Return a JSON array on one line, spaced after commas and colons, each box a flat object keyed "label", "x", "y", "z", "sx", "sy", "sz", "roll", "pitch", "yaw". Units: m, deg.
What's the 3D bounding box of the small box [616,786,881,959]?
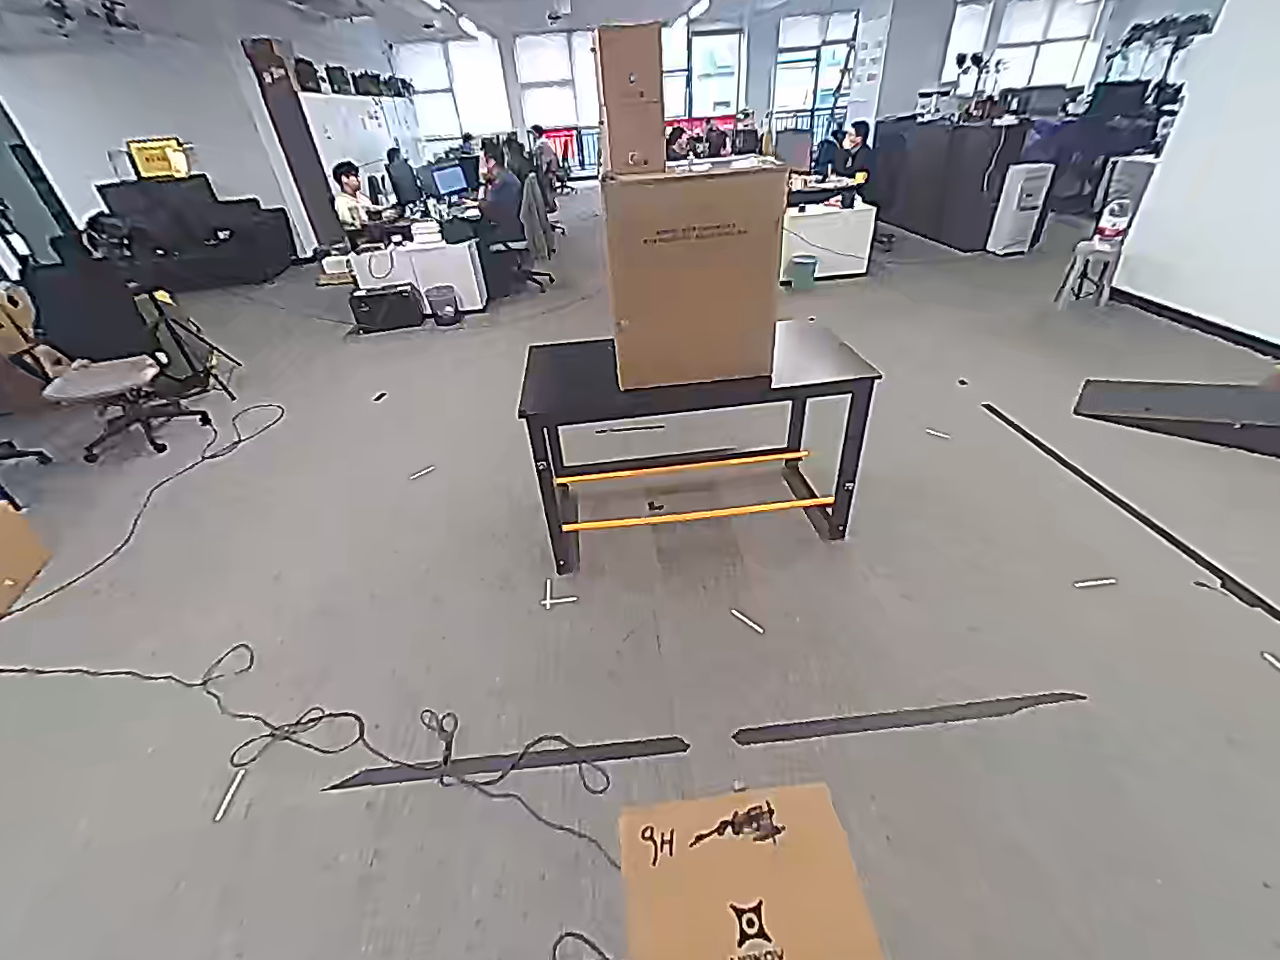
[{"label": "small box", "x": 0.074, "y": 0.359, "z": 0.411, "sx": 0.168, "sy": 0.176, "sz": 0.179, "roll": -5, "pitch": 47, "yaw": -5}]

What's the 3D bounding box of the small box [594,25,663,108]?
[{"label": "small box", "x": -0.032, "y": -1.122, "z": 1.477, "sx": 0.168, "sy": 0.176, "sz": 0.179, "roll": -8, "pitch": 36, "yaw": -5}]

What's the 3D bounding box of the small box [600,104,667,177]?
[{"label": "small box", "x": -0.020, "y": -0.990, "z": 1.575, "sx": 0.168, "sy": 0.176, "sz": 0.179, "roll": -10, "pitch": 37, "yaw": -7}]
